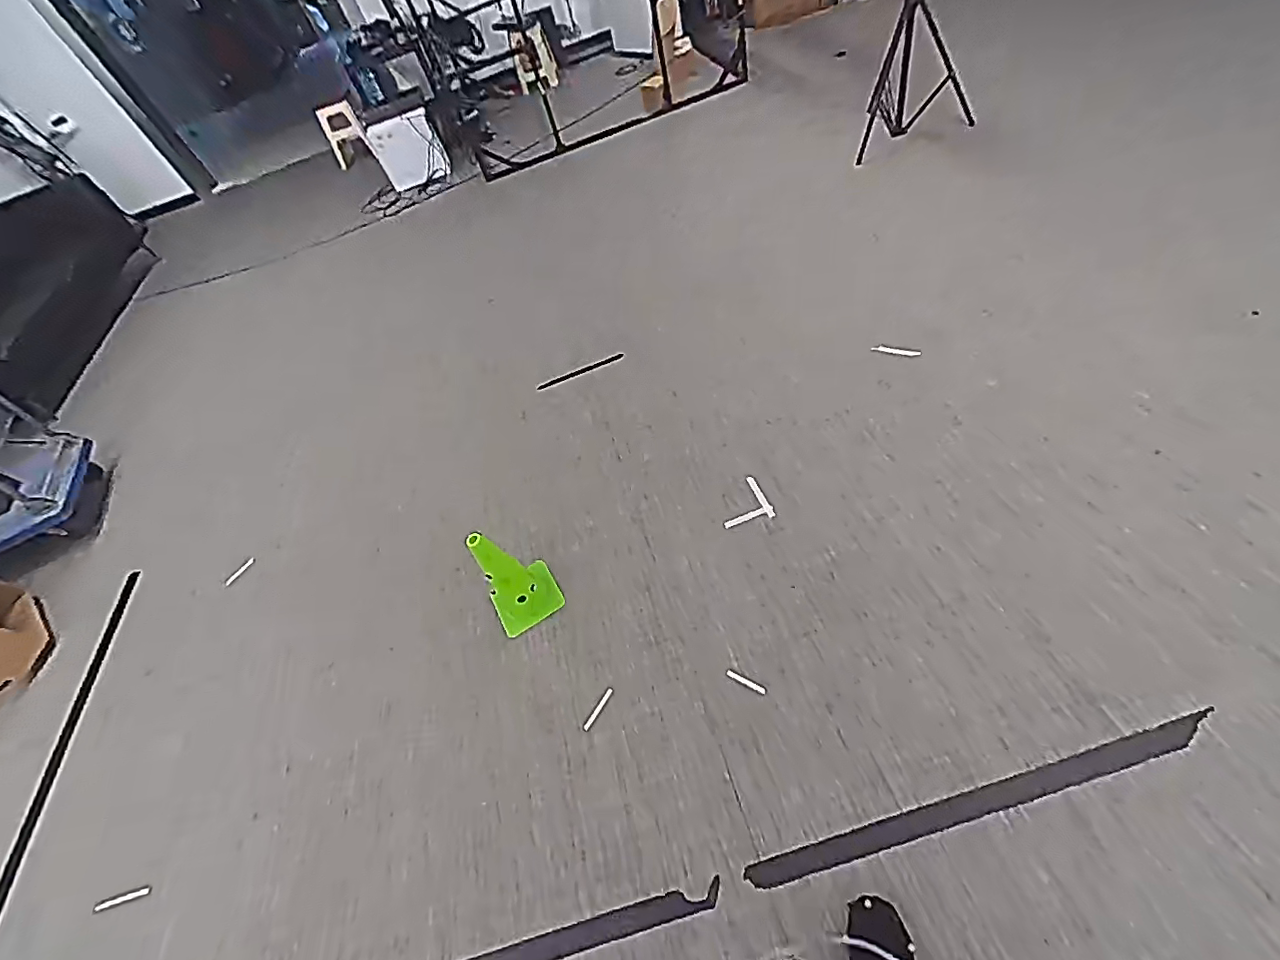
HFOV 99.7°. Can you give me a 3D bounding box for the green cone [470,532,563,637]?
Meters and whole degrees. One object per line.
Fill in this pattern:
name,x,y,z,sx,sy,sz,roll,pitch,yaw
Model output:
green cone,-0.396,0.265,1.564,0.202,0.368,0.200,-32,51,-10
